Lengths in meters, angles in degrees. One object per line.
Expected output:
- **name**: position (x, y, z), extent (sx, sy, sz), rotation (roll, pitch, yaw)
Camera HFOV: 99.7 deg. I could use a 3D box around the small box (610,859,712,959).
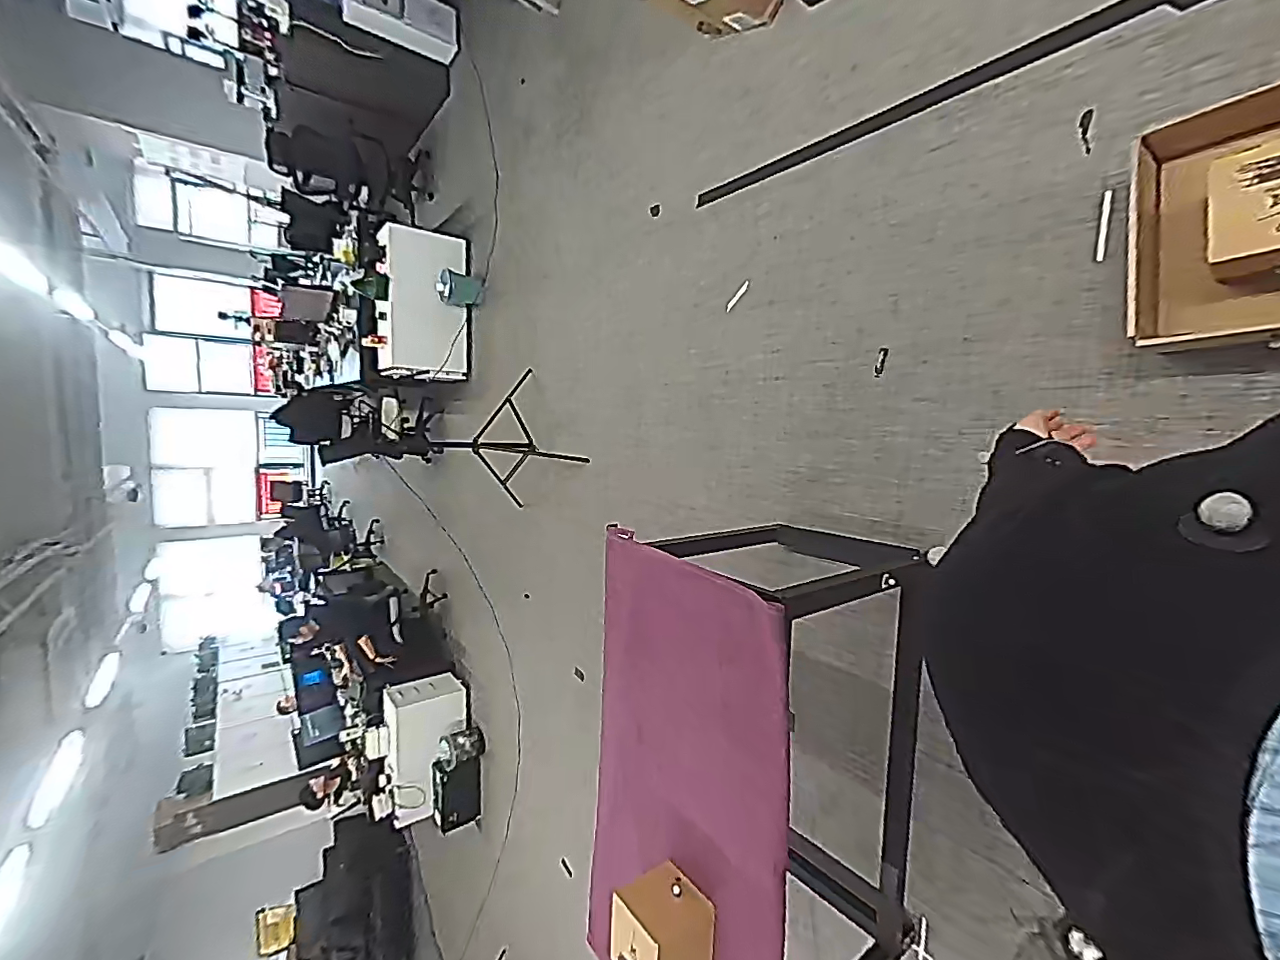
- **small box**: position (0.048, 1.024, 1.229), extent (0.168, 0.176, 0.179), rotation (10, 99, 52)
